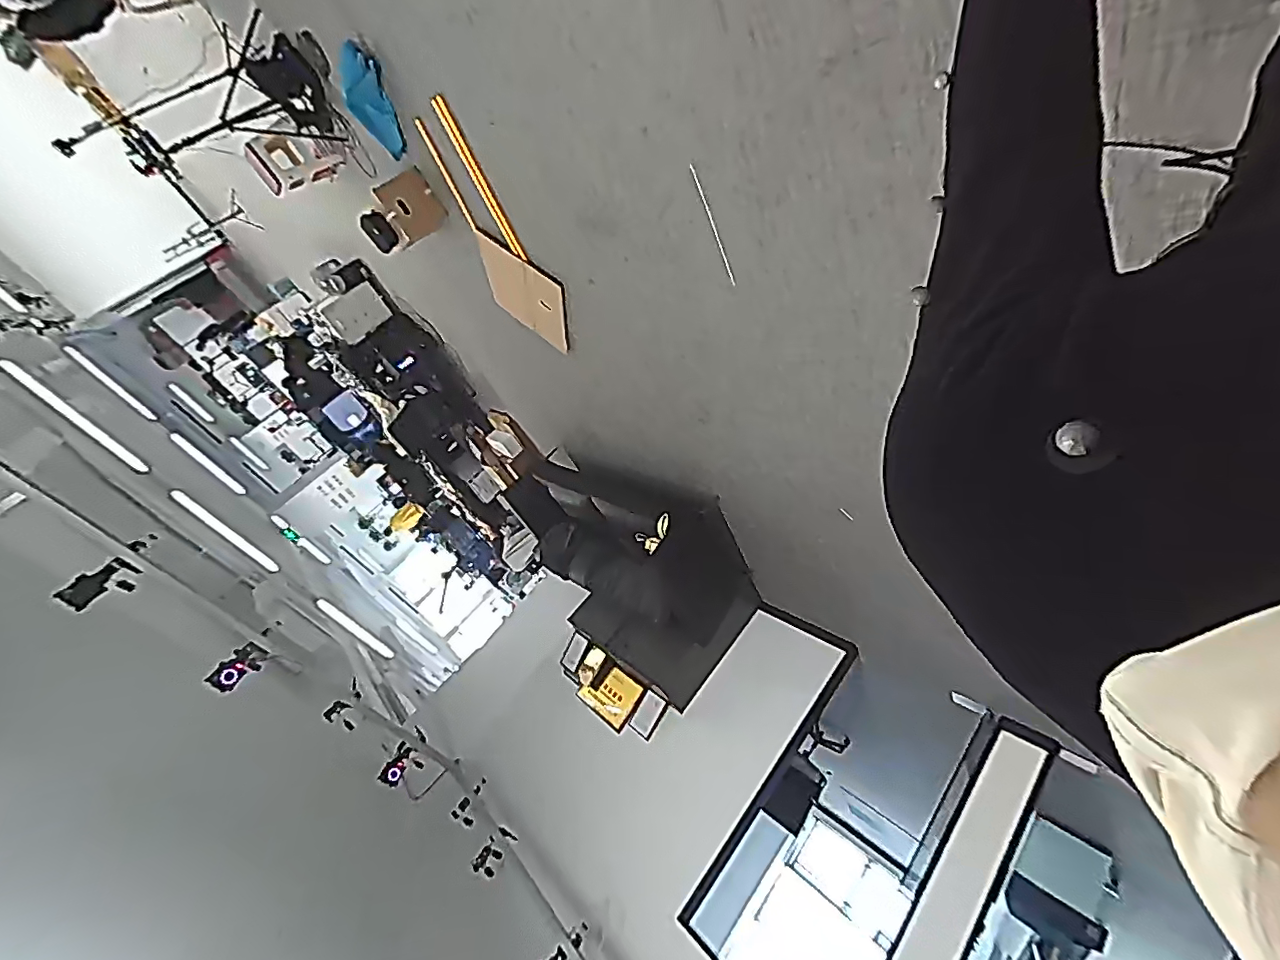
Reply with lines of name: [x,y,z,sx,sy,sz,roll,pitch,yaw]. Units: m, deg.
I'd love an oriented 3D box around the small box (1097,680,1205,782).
small box: [1.413,0.688,1.497,0.168,0.176,0.179,25,153,41]

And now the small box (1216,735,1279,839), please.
small box: [1.595,0.771,1.336,0.168,0.176,0.179,26,153,40]
